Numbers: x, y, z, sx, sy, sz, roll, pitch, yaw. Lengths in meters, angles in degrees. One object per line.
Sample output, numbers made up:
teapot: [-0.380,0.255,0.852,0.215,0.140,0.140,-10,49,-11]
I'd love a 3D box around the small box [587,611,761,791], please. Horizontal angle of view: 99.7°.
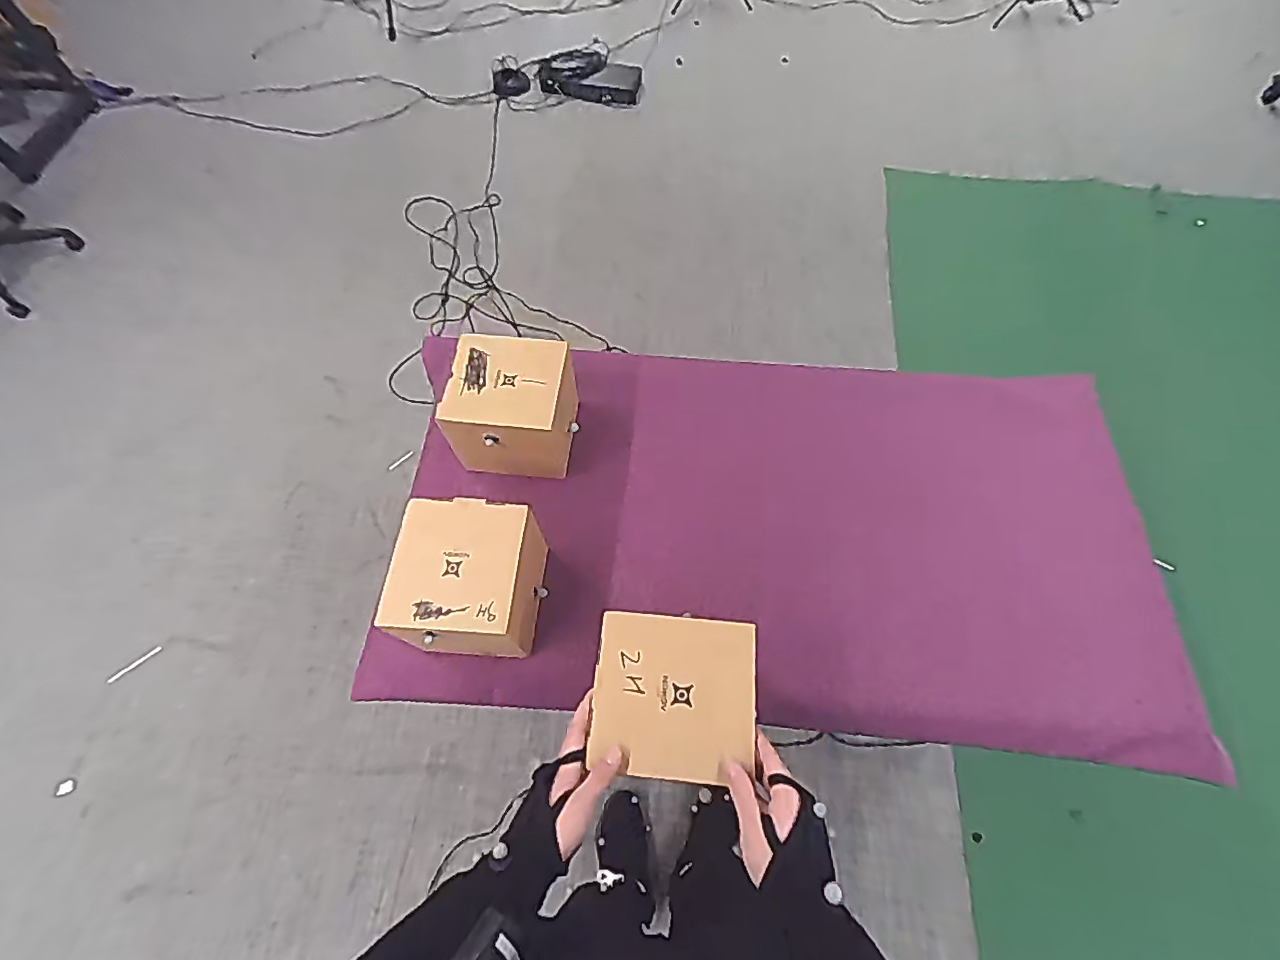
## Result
small box: [0.042,0.264,0.646,0.179,0.176,0.168,4,63,4]

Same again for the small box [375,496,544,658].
small box: [-0.235,0.140,0.758,0.168,0.176,0.179,3,63,2]

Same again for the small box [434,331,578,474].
small box: [-0.206,-0.120,0.885,0.179,0.176,0.168,5,65,2]
